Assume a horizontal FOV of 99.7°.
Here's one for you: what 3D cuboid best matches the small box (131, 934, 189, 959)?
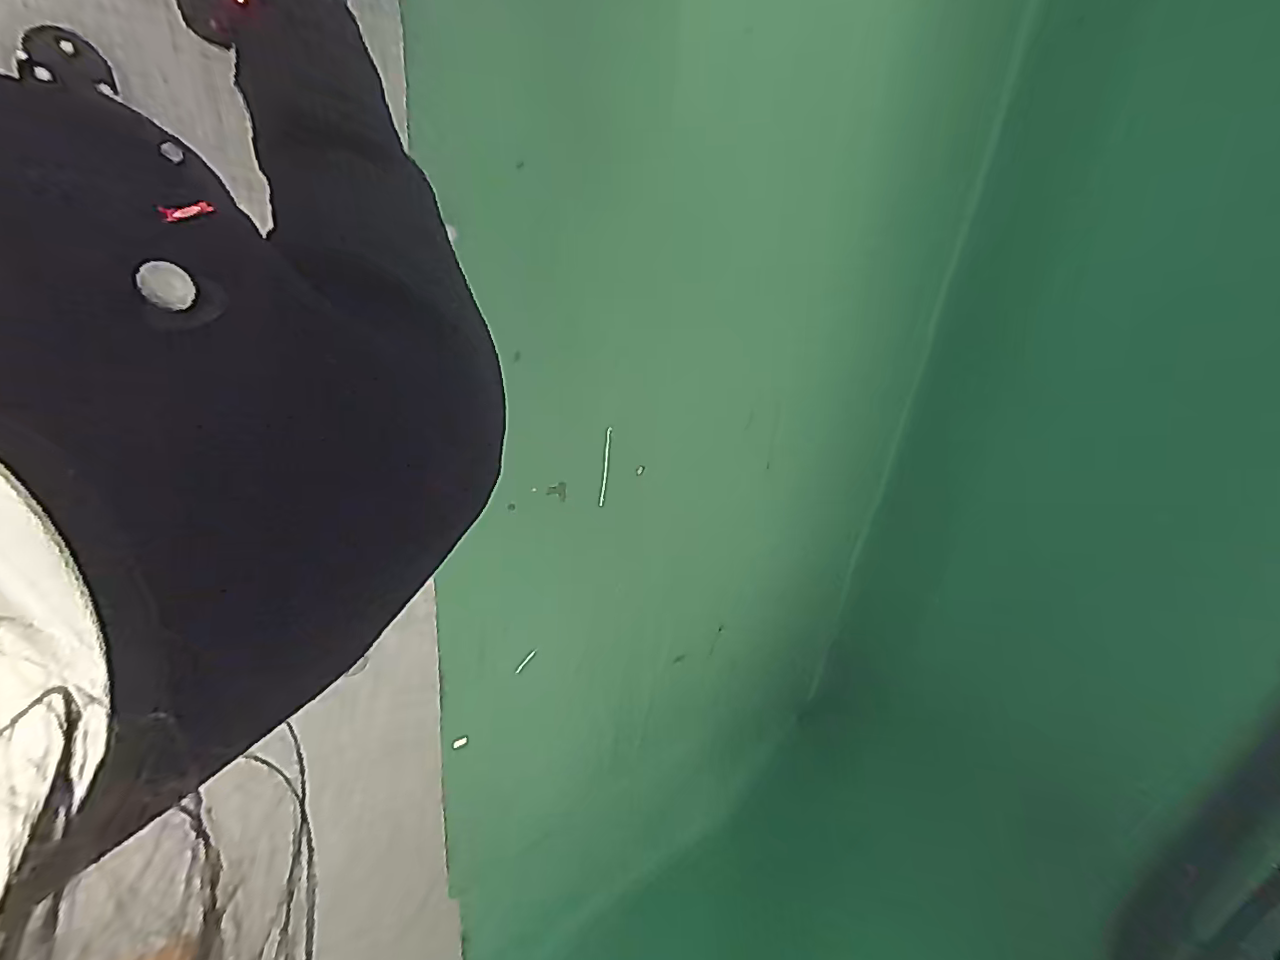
[{"bbox_3d":[-1.376,1.449,1.515,0.179,0.176,0.168,-11,121,-42],"label":"small box"}]
